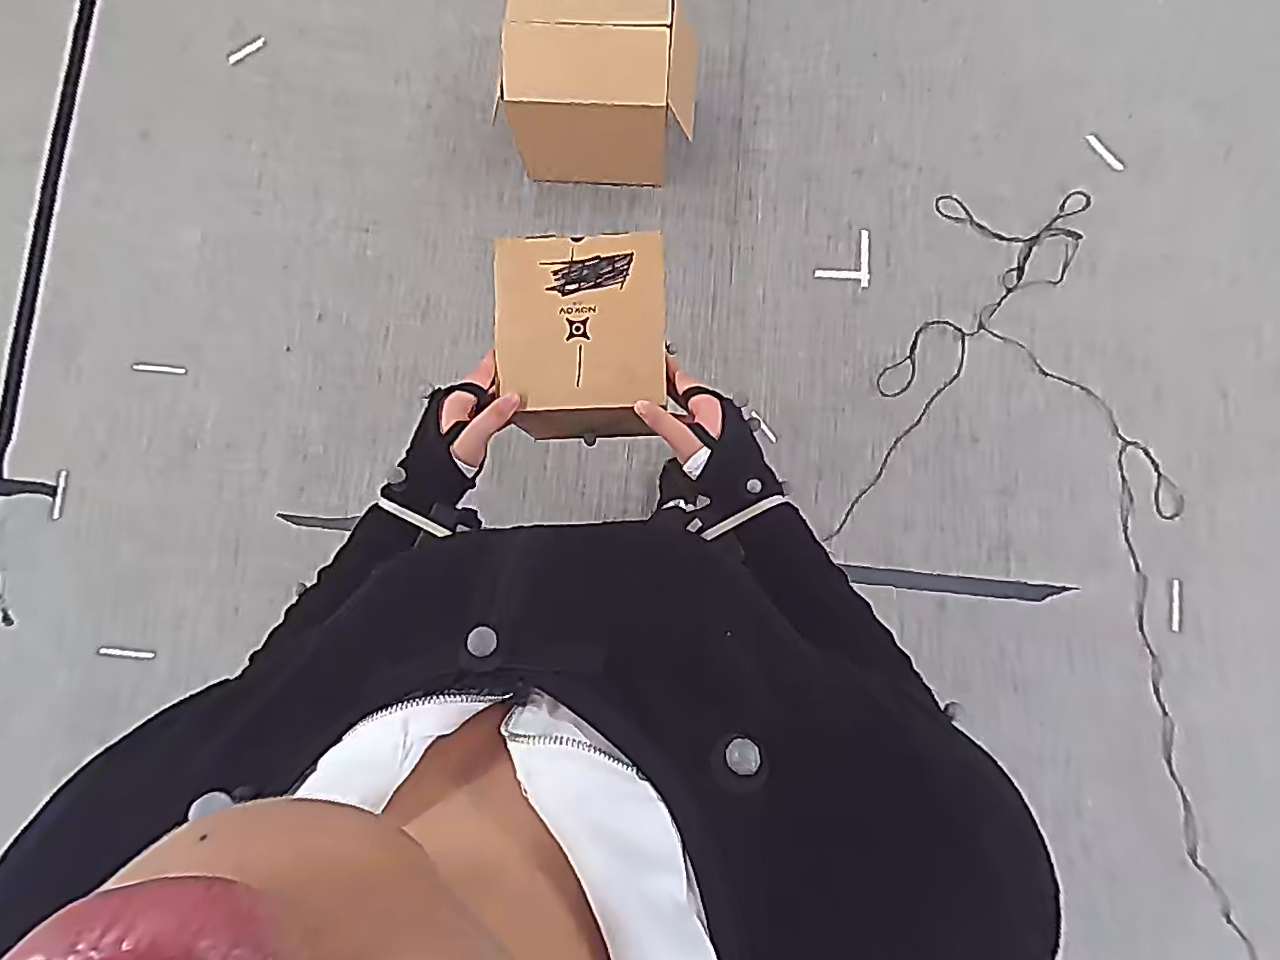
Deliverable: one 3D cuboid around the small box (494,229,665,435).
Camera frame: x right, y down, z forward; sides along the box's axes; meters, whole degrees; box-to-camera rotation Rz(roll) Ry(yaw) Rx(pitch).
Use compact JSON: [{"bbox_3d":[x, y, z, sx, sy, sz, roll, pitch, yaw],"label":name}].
[{"bbox_3d":[-0.058,-0.152,0.604,0.168,0.176,0.179,-2,85,2],"label":"small box"}]
